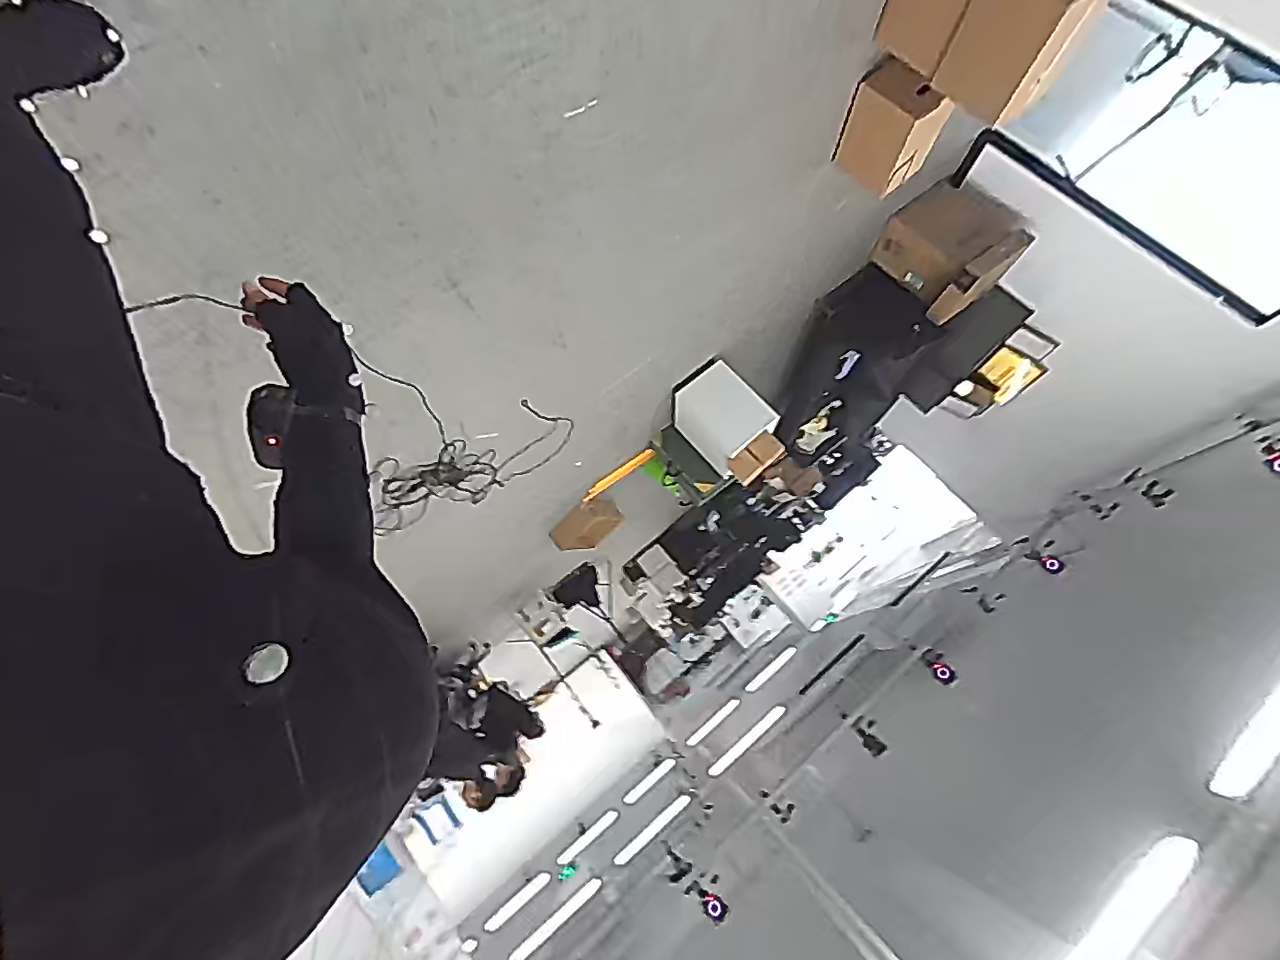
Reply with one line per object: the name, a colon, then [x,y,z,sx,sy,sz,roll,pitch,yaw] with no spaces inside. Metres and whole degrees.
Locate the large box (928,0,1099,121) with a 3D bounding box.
large box: [1.302,-1.578,1.867,0.320,0.320,0.408,-36,165,-13]
